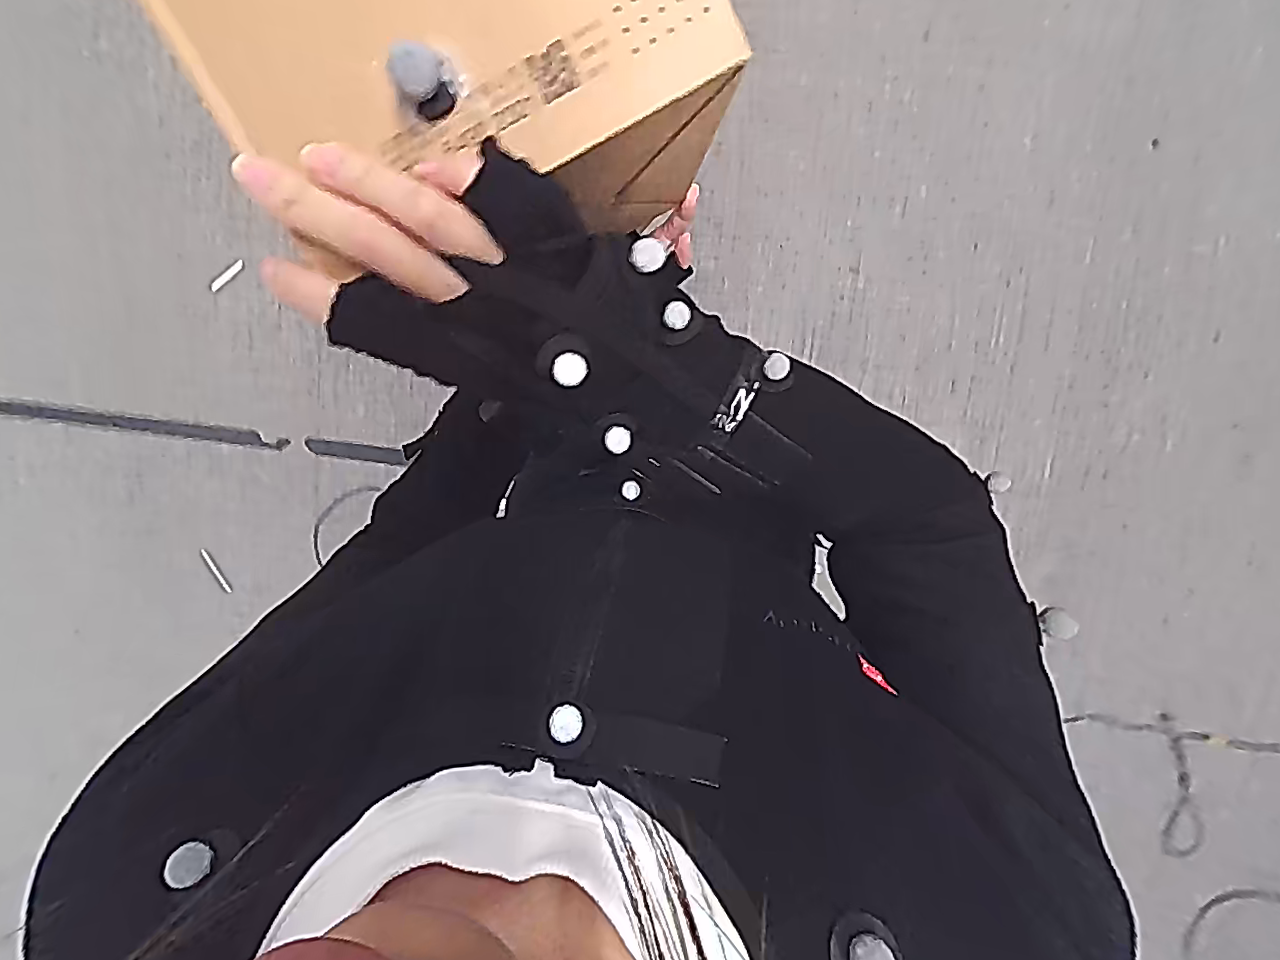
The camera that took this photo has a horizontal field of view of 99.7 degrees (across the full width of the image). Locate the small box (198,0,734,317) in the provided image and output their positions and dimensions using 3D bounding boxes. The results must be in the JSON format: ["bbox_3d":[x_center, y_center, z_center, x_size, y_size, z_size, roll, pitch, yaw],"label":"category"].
[{"bbox_3d":[-0.075,-0.194,0.265,0.168,0.179,0.176,-29,102,3],"label":"small box"}]
